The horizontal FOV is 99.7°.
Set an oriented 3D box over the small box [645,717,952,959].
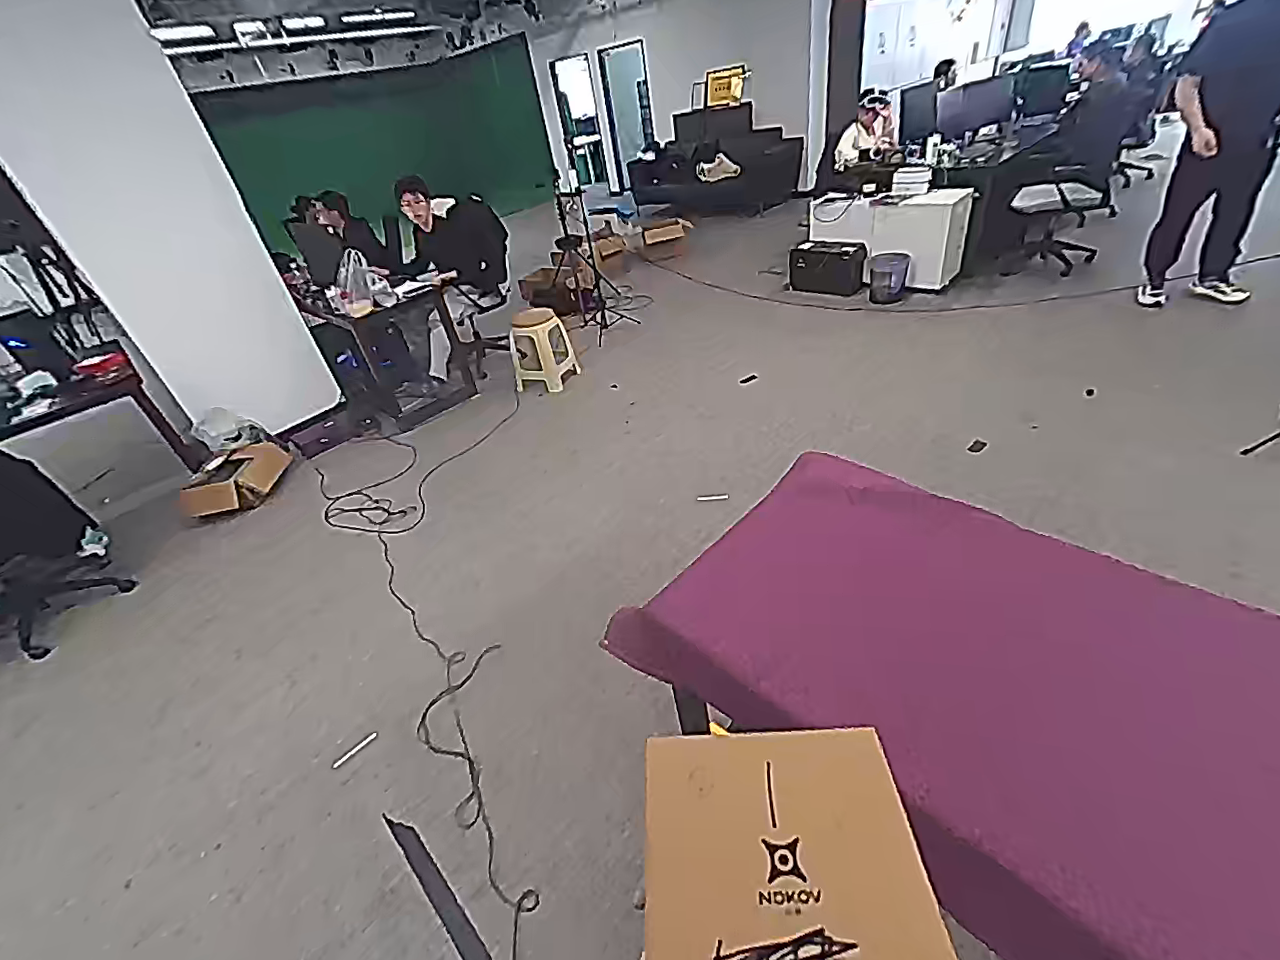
[{"bbox_3d":[0.092,0.291,0.375,0.168,0.176,0.179,-4,39,3],"label":"small box"}]
